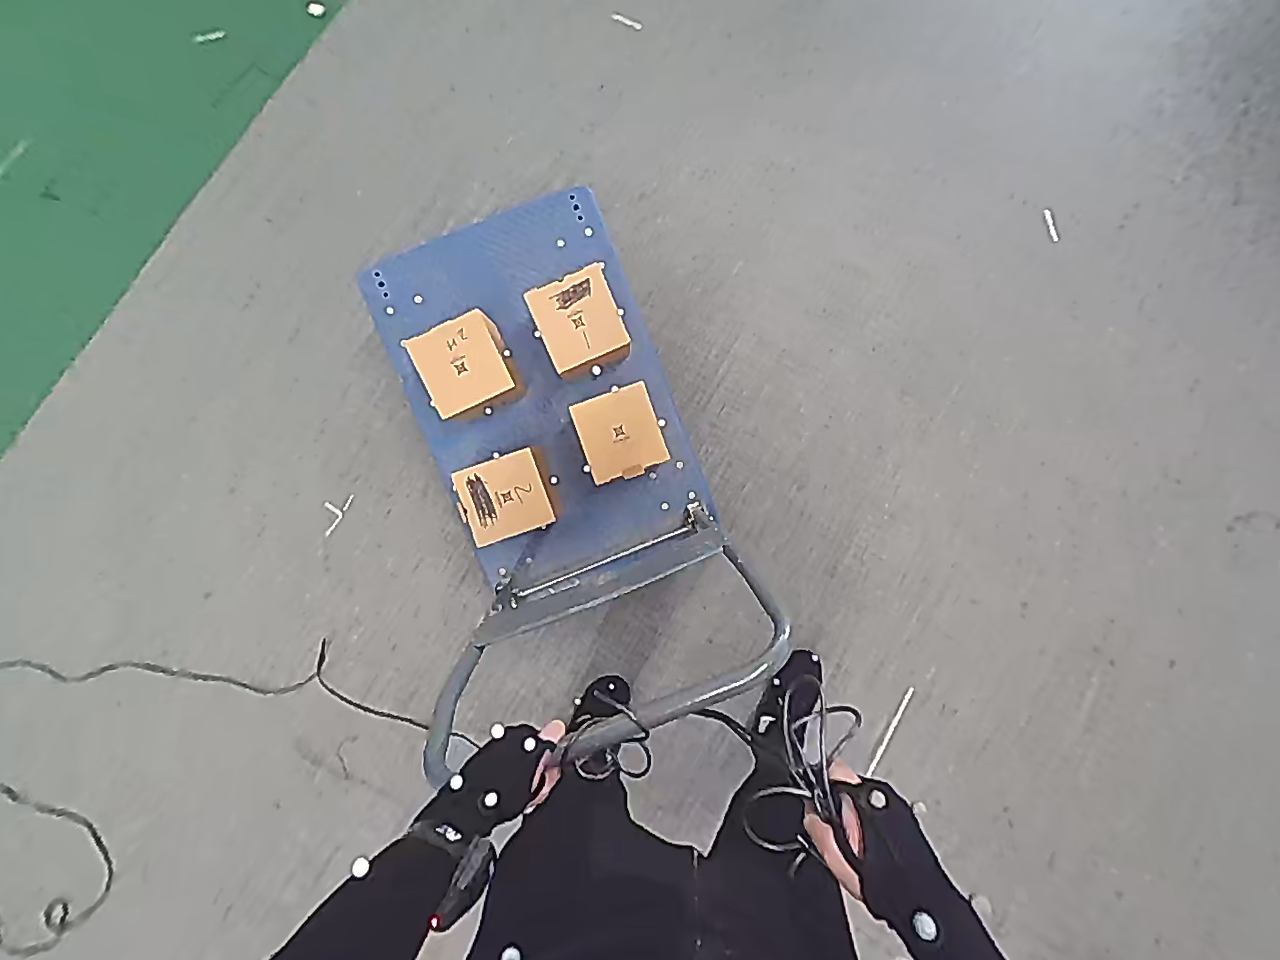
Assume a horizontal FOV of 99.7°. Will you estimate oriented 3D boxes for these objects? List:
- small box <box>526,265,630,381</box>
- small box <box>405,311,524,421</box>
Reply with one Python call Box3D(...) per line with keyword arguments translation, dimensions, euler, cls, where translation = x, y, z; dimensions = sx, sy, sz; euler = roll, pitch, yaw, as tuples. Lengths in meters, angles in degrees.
Box3D(translation=(-0.129, -0.330, 1.172), dimensions=(0.168, 0.176, 0.179), euler=(-22, 96, 1), cls="small box")
Box3D(translation=(-0.367, -0.237, 1.172), dimensions=(0.168, 0.176, 0.179), euler=(-24, 95, 0), cls="small box")
